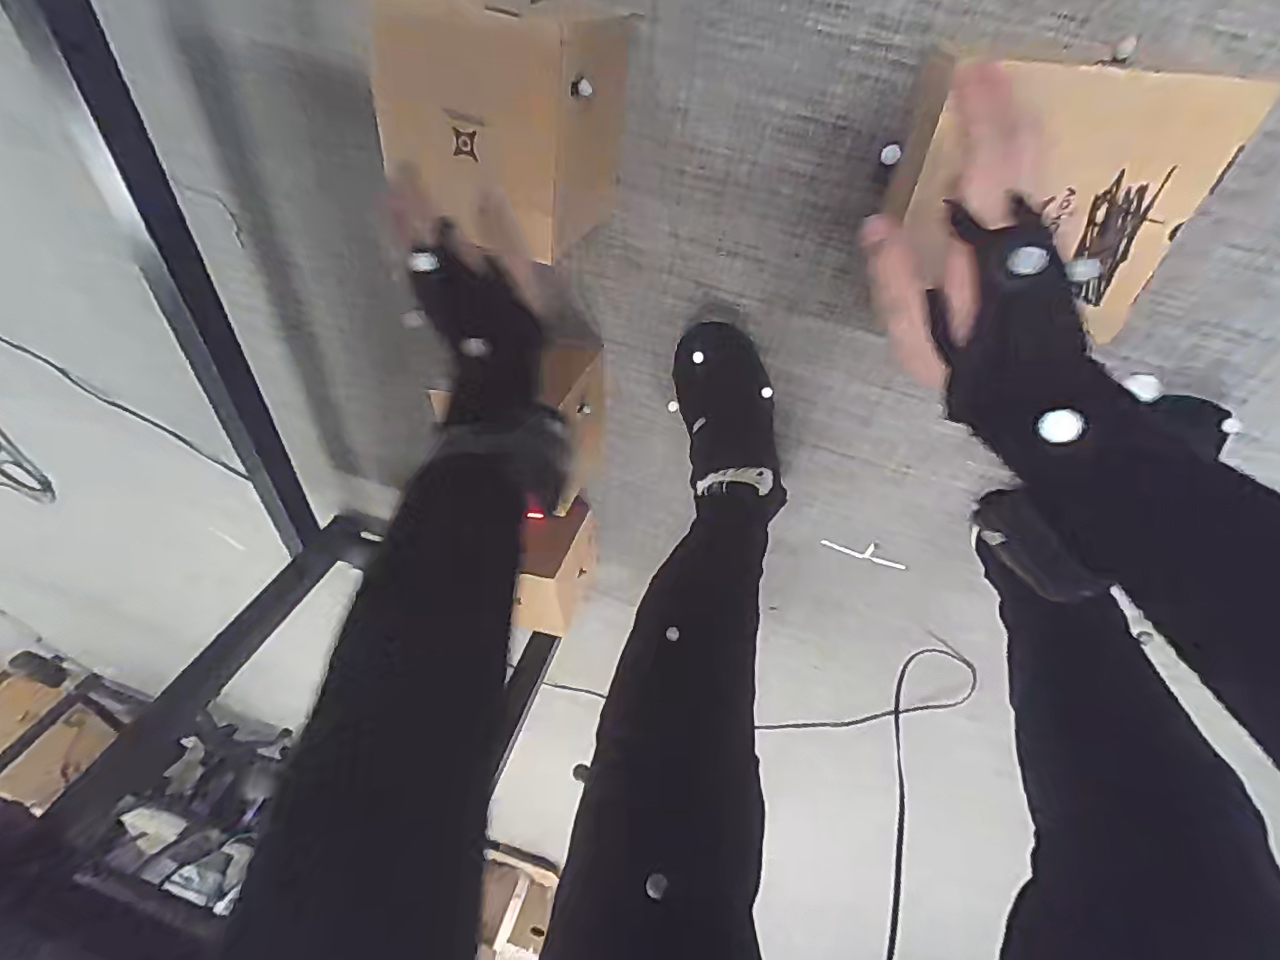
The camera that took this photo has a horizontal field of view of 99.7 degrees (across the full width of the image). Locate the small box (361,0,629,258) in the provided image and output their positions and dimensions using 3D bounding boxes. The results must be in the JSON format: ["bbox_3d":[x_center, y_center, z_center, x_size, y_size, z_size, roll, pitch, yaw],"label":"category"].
[{"bbox_3d":[-0.118,-0.337,0.498,0.168,0.176,0.179,18,133,6],"label":"small box"}]

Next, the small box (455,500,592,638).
[{"bbox_3d":[-0.190,0.144,0.948,0.179,0.176,0.168,11,133,12],"label":"small box"}]

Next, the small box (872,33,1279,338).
[{"bbox_3d":[0.299,-0.237,0.425,0.179,0.176,0.168,14,133,11],"label":"small box"}]

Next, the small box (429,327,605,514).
[{"bbox_3d":[-0.152,-0.086,0.732,0.168,0.176,0.179,13,134,11],"label":"small box"}]
